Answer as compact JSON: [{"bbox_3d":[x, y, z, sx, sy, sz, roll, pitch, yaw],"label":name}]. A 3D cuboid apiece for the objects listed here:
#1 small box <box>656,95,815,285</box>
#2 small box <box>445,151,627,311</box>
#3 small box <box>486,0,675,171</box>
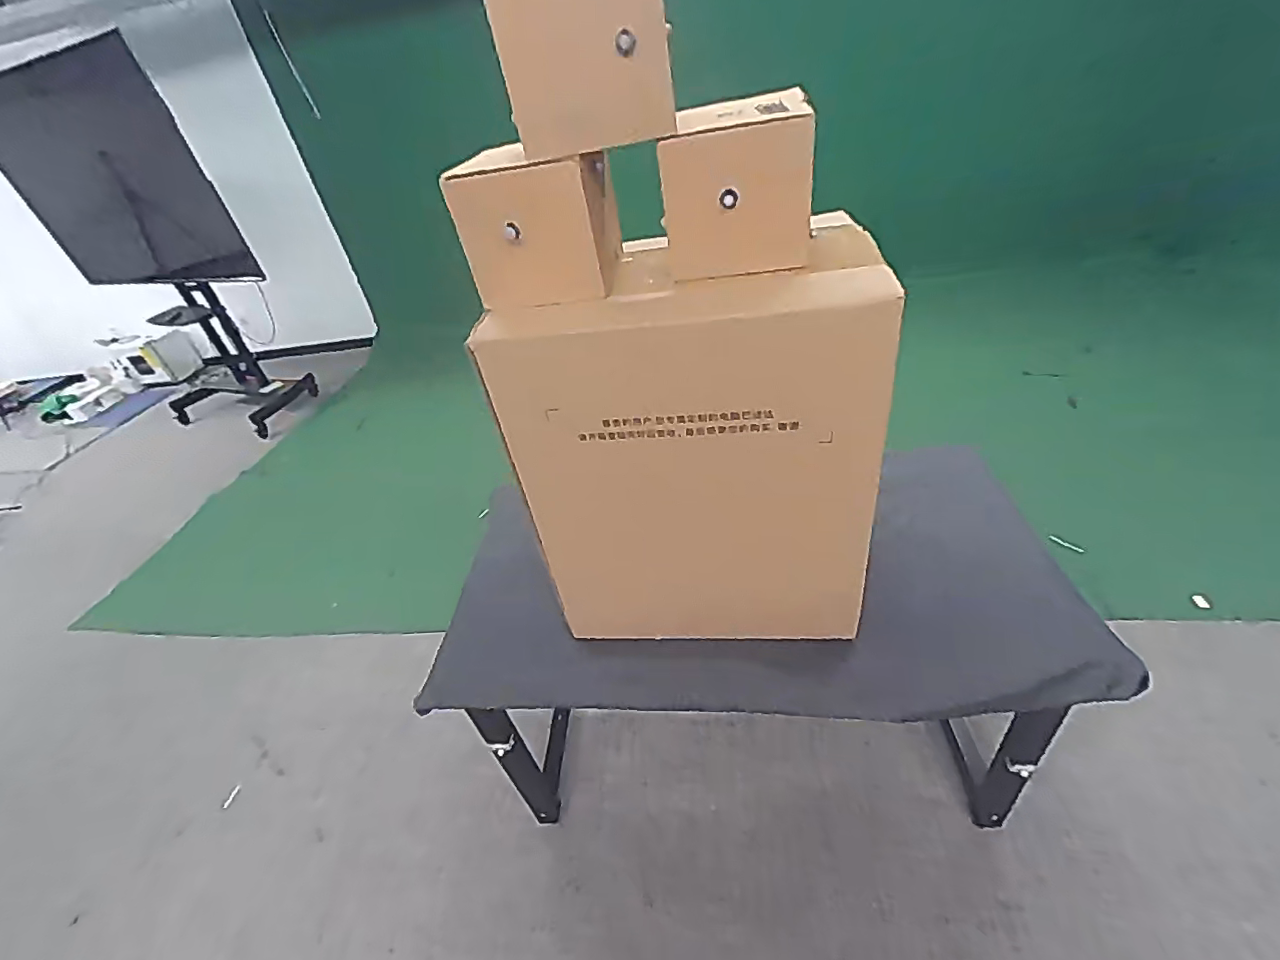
[{"bbox_3d":[0.127,-0.373,0.705,0.179,0.176,0.168,-3,42,13],"label":"small box"},{"bbox_3d":[-0.127,-0.343,0.739,0.179,0.176,0.168,-2,42,12],"label":"small box"},{"bbox_3d":[-0.056,-0.475,0.621,0.179,0.176,0.168,-10,39,4],"label":"small box"}]
